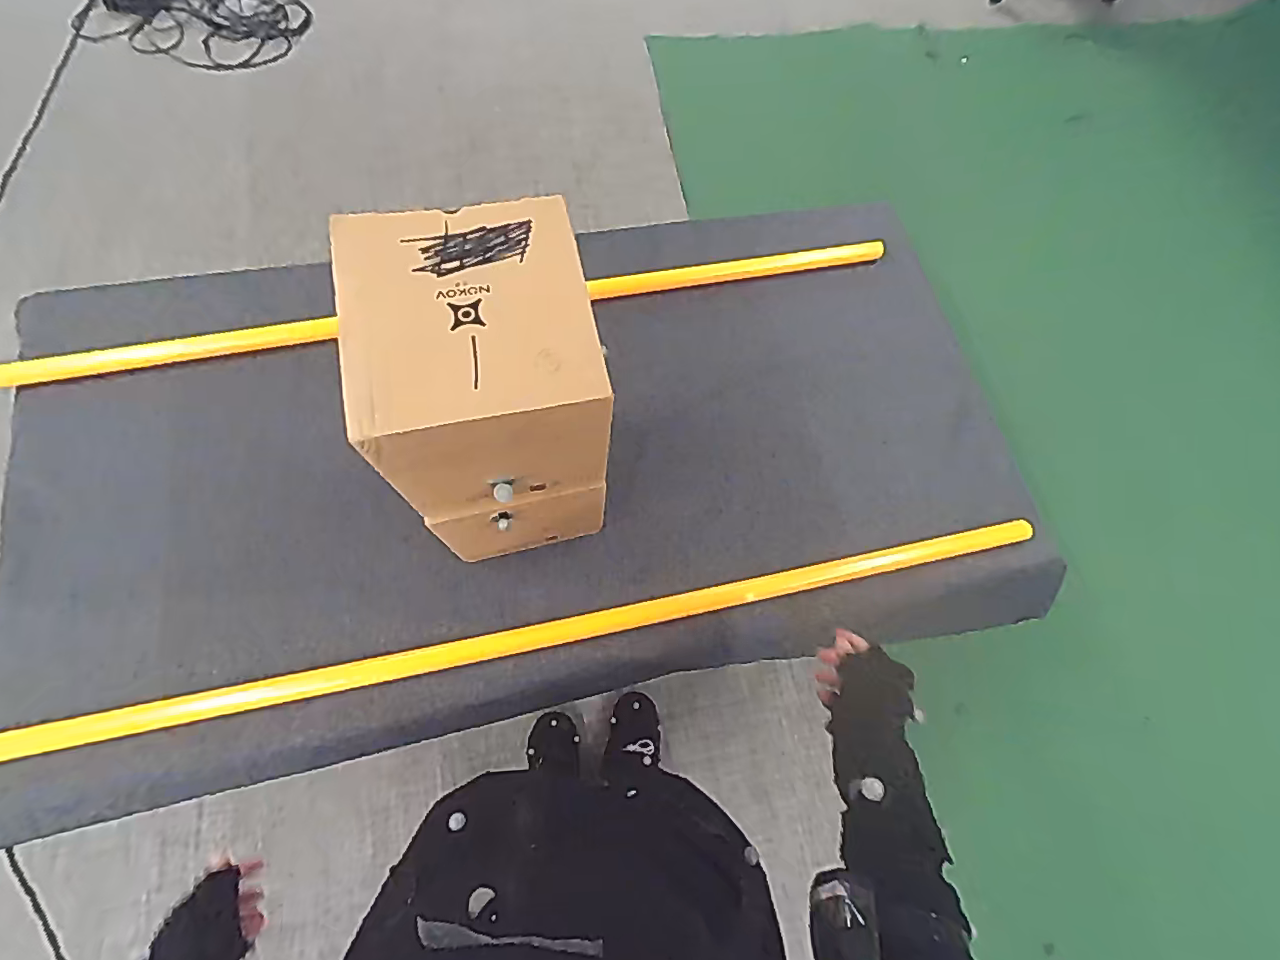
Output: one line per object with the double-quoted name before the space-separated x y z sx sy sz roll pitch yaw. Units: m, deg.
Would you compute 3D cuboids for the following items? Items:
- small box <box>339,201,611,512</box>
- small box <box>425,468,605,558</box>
"small box" -0.124 -0.091 0.444 0.168 0.176 0.179 -11 72 -9
"small box" -0.139 -0.030 0.597 0.168 0.176 0.179 -13 71 -9
